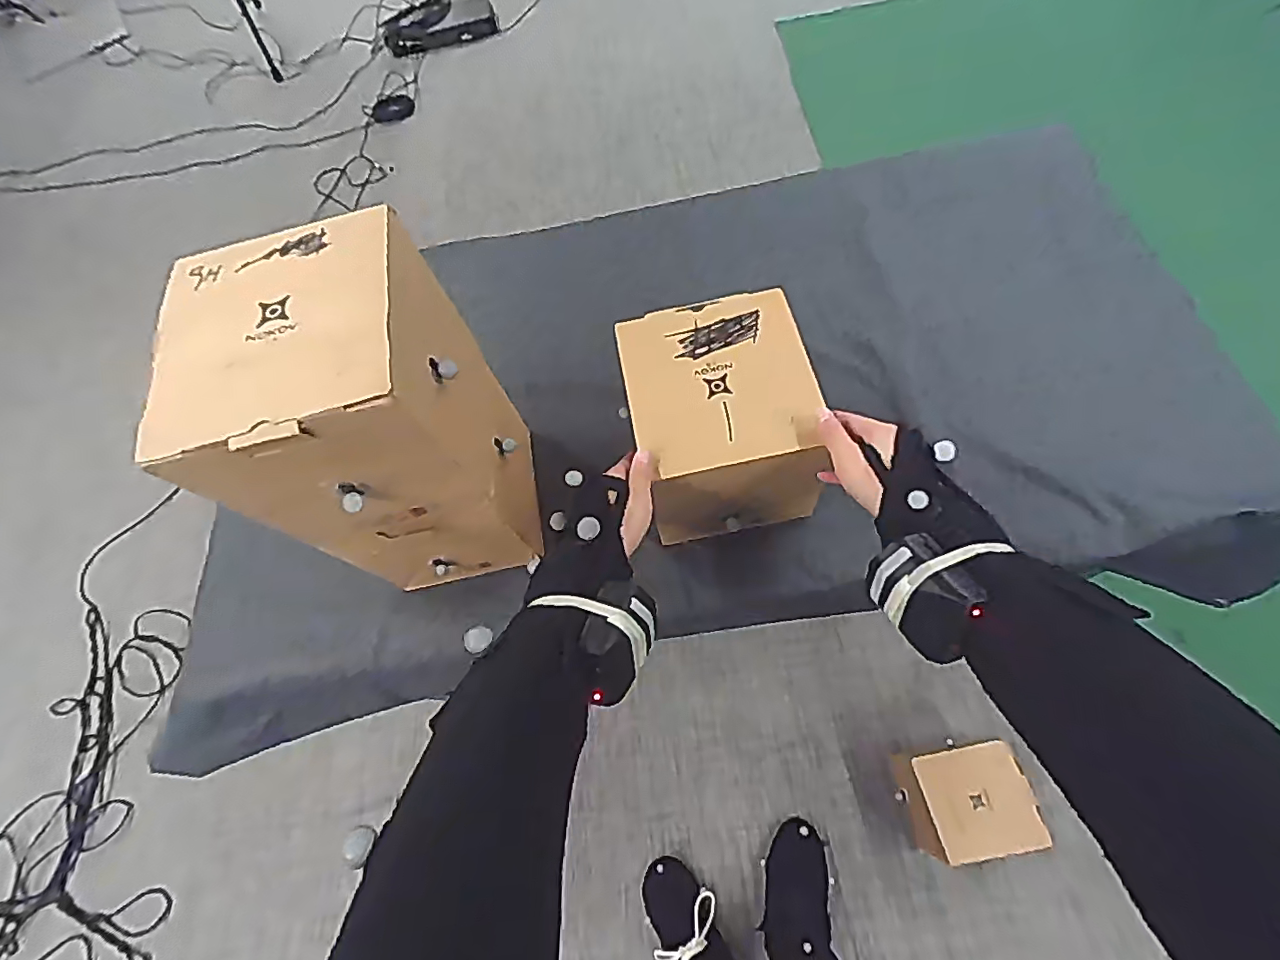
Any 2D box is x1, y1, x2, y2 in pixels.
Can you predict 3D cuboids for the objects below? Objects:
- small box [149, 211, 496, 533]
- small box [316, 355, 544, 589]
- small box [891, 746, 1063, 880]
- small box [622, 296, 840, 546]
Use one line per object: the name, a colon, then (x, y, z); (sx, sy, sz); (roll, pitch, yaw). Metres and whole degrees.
small box: (-0.227, -0.069, 0.433); (0.168, 0.176, 0.179); (-14, 65, 1)
small box: (-0.210, 0.000, 0.581); (0.168, 0.176, 0.179); (-13, 64, 2)
small box: (0.596, 0.594, 0.984); (0.179, 0.176, 0.168); (-15, 61, -2)
small box: (0.084, -0.052, 0.557); (0.168, 0.176, 0.179); (-12, 63, 4)
